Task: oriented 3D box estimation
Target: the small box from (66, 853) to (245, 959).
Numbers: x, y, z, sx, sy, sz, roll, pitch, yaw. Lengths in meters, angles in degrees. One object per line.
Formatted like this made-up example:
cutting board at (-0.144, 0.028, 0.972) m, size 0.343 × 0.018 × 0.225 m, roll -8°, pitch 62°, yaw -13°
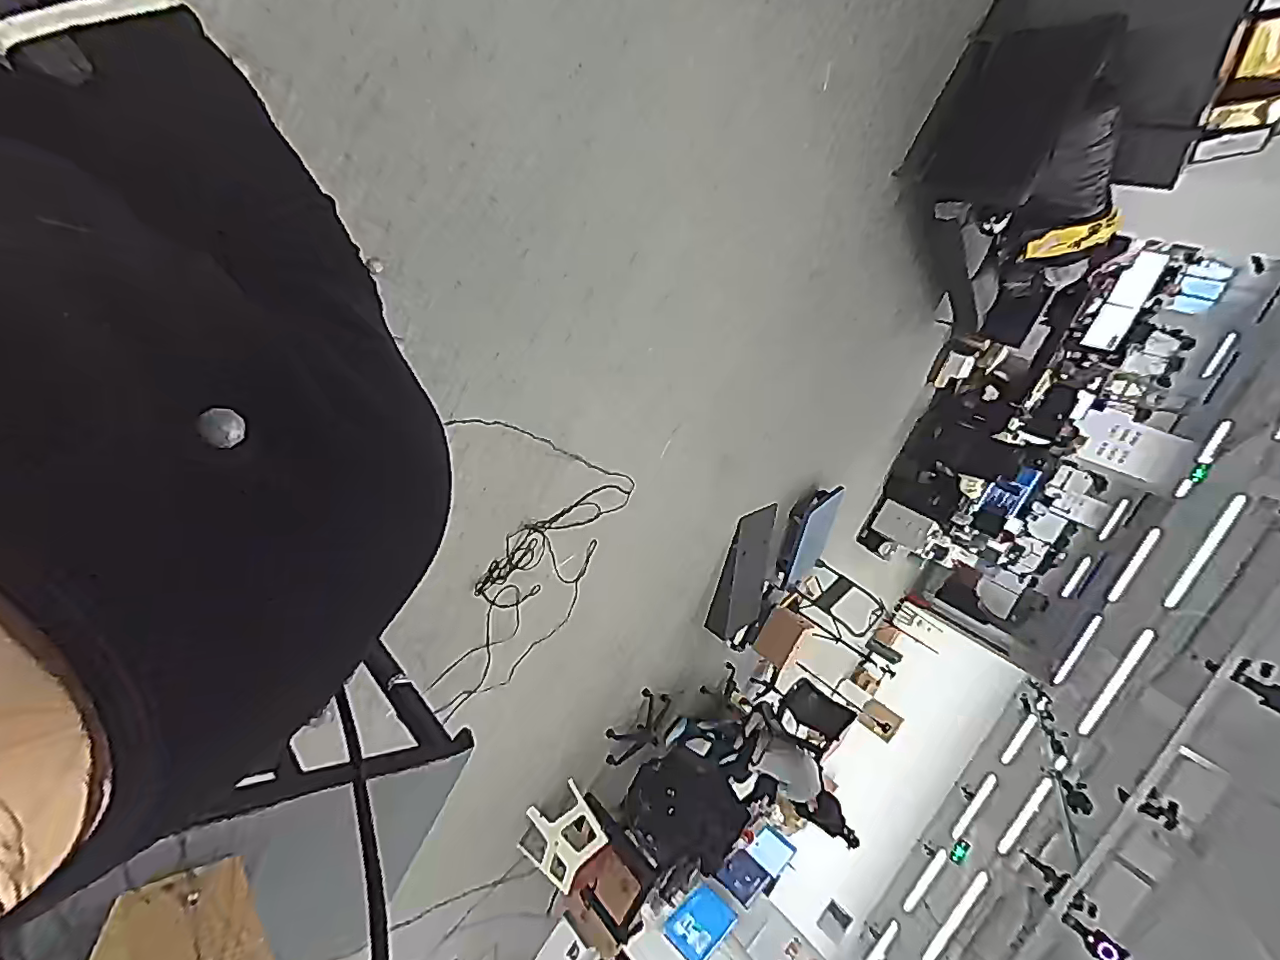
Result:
small box at (-0.788, 0.764, 0.876) m, size 0.168 × 0.176 × 0.179 m, roll 19°, pitch 102°, yaw -57°
